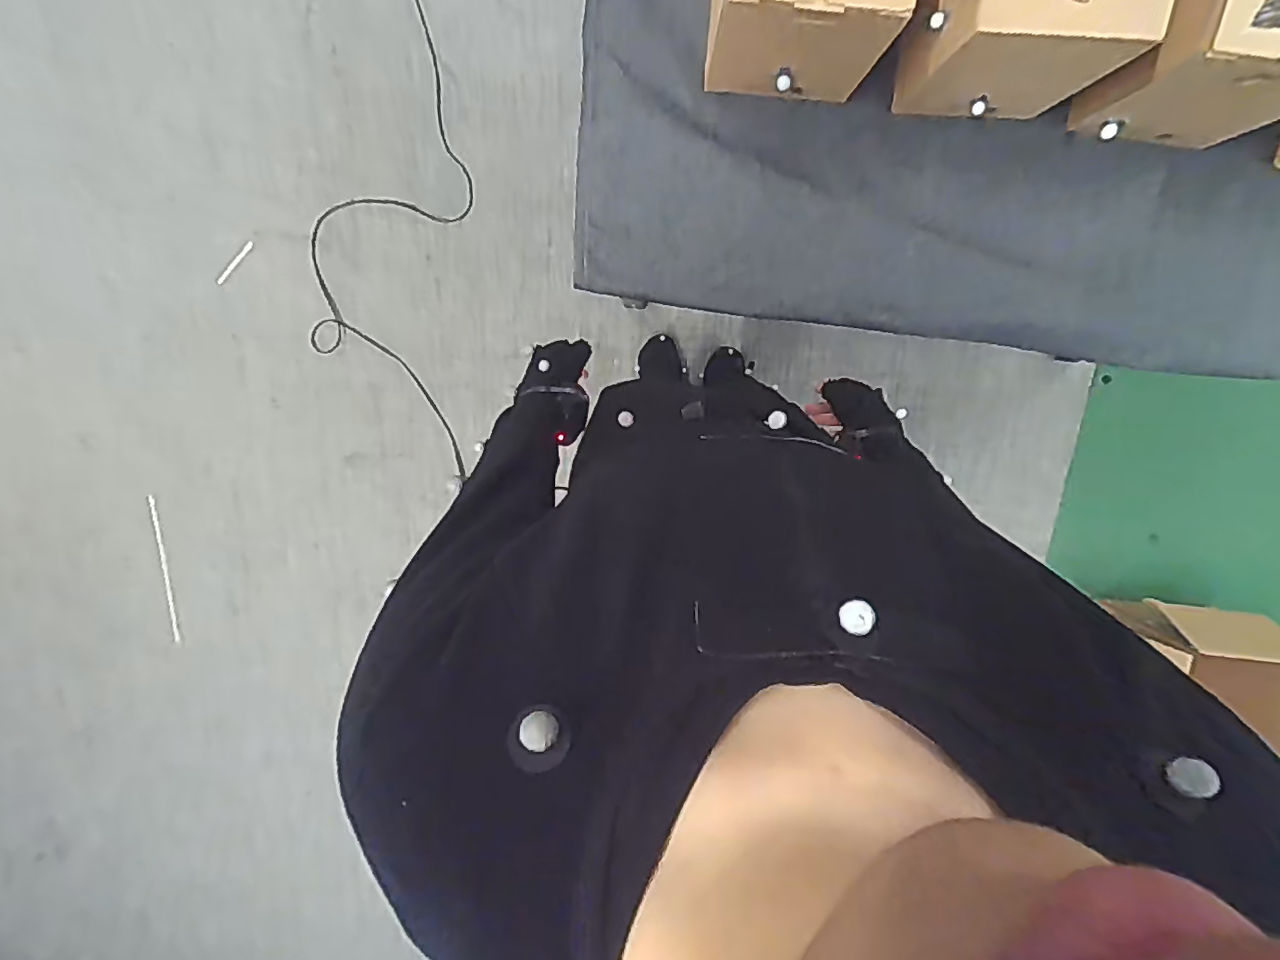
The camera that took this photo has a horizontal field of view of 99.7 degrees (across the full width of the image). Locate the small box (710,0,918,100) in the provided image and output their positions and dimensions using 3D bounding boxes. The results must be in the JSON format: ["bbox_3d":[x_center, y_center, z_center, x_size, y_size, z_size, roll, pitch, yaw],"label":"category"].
[{"bbox_3d":[0.163,-0.507,0.519,0.168,0.176,0.179,5,103,0],"label":"small box"}]
